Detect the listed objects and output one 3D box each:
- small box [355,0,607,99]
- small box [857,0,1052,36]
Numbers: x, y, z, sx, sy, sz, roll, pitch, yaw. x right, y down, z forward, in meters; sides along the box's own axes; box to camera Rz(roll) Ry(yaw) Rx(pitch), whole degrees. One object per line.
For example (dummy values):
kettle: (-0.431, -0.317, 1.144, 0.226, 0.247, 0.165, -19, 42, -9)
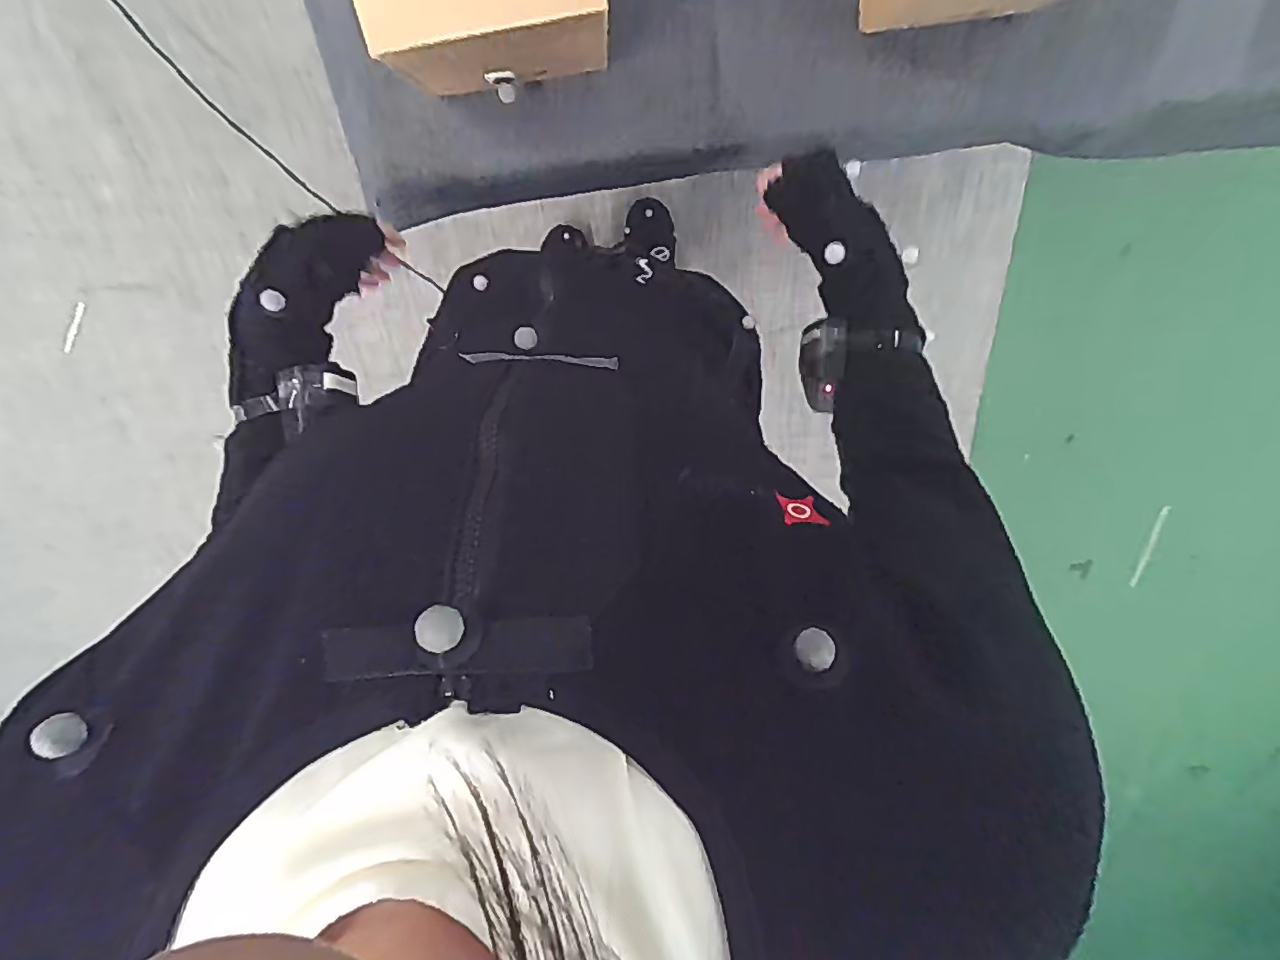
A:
small box: (-0.121, -0.414, 0.399, 0.168, 0.176, 0.179, -10, 117, 2)
small box: (0.276, -0.469, 0.399, 0.168, 0.176, 0.179, -7, 116, 0)
